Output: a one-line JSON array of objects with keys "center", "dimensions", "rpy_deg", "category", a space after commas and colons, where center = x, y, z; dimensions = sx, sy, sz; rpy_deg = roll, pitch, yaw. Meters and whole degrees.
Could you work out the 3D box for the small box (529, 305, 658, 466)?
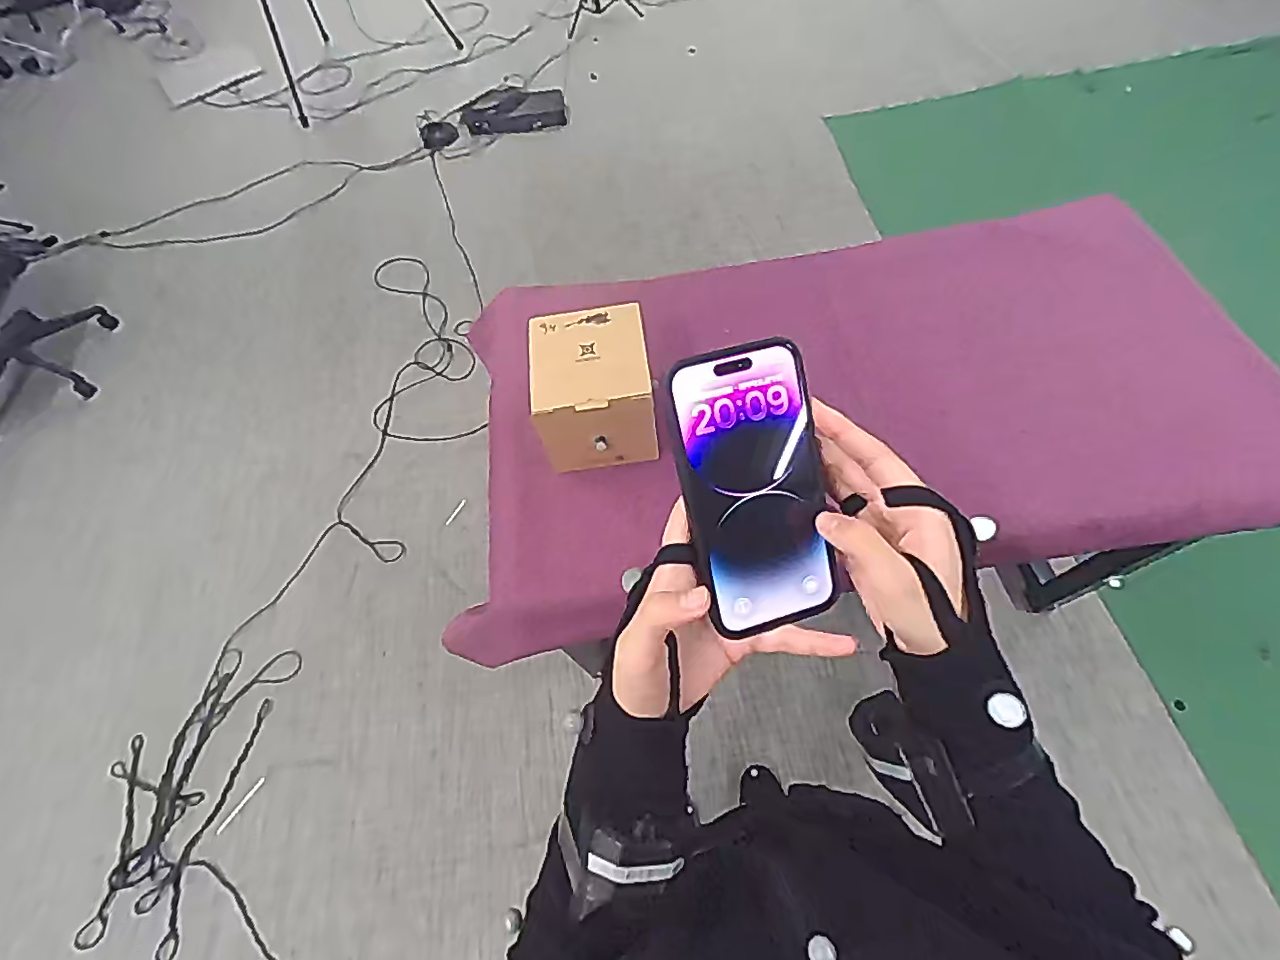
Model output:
[{"center": [-0.067, -0.134, 0.827], "dimensions": [0.168, 0.176, 0.179], "rpy_deg": [-8, 61, 2], "category": "small box"}]
